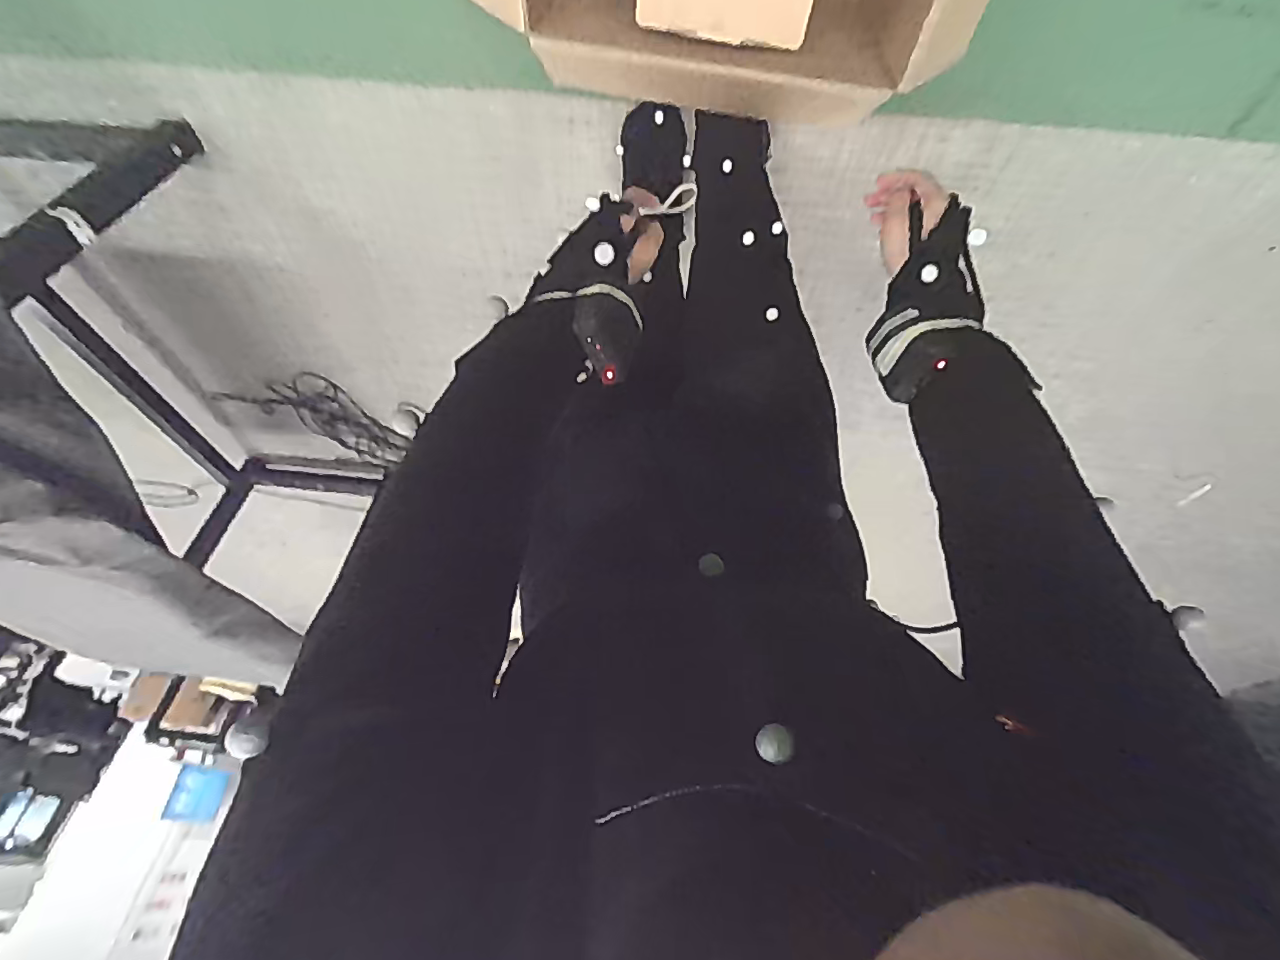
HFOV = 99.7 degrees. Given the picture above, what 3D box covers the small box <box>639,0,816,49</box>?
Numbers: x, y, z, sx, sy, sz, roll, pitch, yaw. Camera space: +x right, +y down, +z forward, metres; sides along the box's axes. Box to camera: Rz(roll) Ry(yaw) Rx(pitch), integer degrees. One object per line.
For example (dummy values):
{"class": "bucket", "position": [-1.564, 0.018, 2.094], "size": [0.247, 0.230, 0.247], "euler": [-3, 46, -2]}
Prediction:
{"class": "small box", "position": [0.094, -0.547, 0.505], "size": [0.168, 0.176, 0.179], "euler": [8, 144, -1]}
